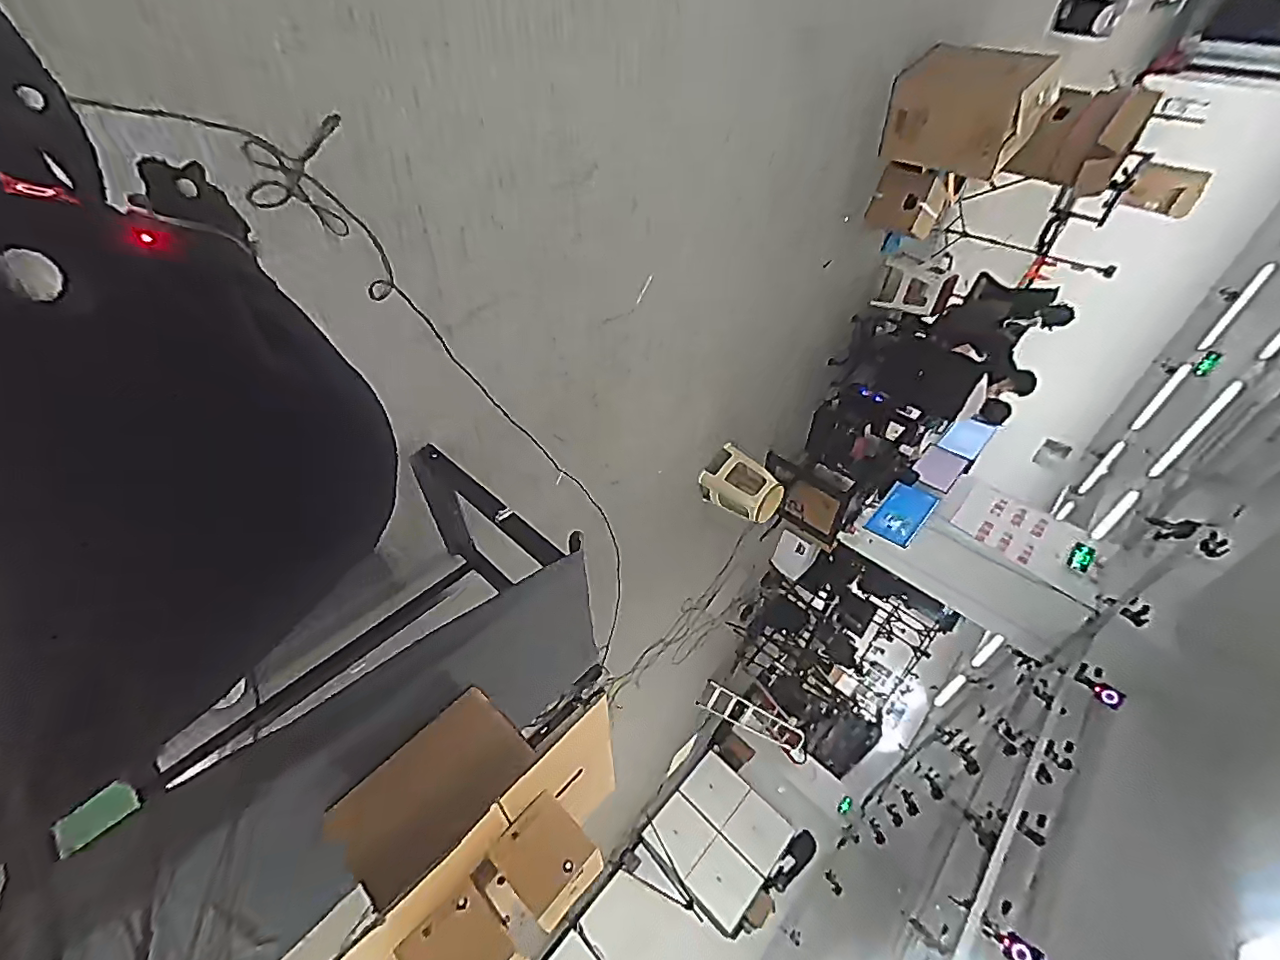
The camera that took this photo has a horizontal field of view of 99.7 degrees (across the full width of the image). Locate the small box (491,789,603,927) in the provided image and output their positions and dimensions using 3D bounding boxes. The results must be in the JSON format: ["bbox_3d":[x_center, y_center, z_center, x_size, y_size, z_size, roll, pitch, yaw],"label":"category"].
[{"bbox_3d":[-0.197,0.811,1.169,0.168,0.176,0.179,-39,147,-32],"label":"small box"}]
